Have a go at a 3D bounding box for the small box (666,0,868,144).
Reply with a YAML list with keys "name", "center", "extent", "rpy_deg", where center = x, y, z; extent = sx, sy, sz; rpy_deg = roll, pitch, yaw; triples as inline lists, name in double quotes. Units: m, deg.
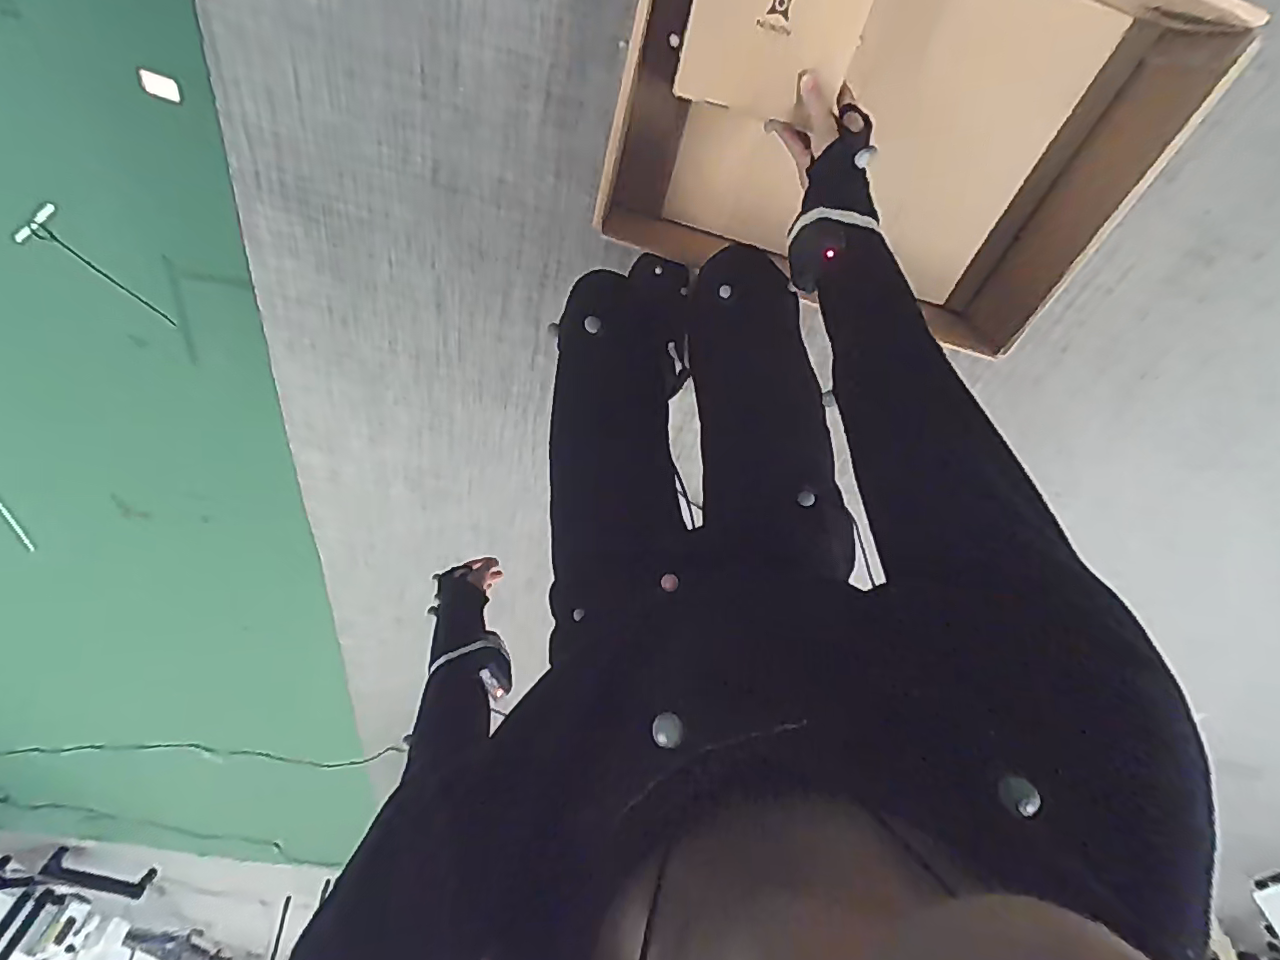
- name: "small box"
  center: [0.133, -0.487, 0.574]
  extent: [0.168, 0.176, 0.179]
  rpy_deg: [14, 128, -4]
